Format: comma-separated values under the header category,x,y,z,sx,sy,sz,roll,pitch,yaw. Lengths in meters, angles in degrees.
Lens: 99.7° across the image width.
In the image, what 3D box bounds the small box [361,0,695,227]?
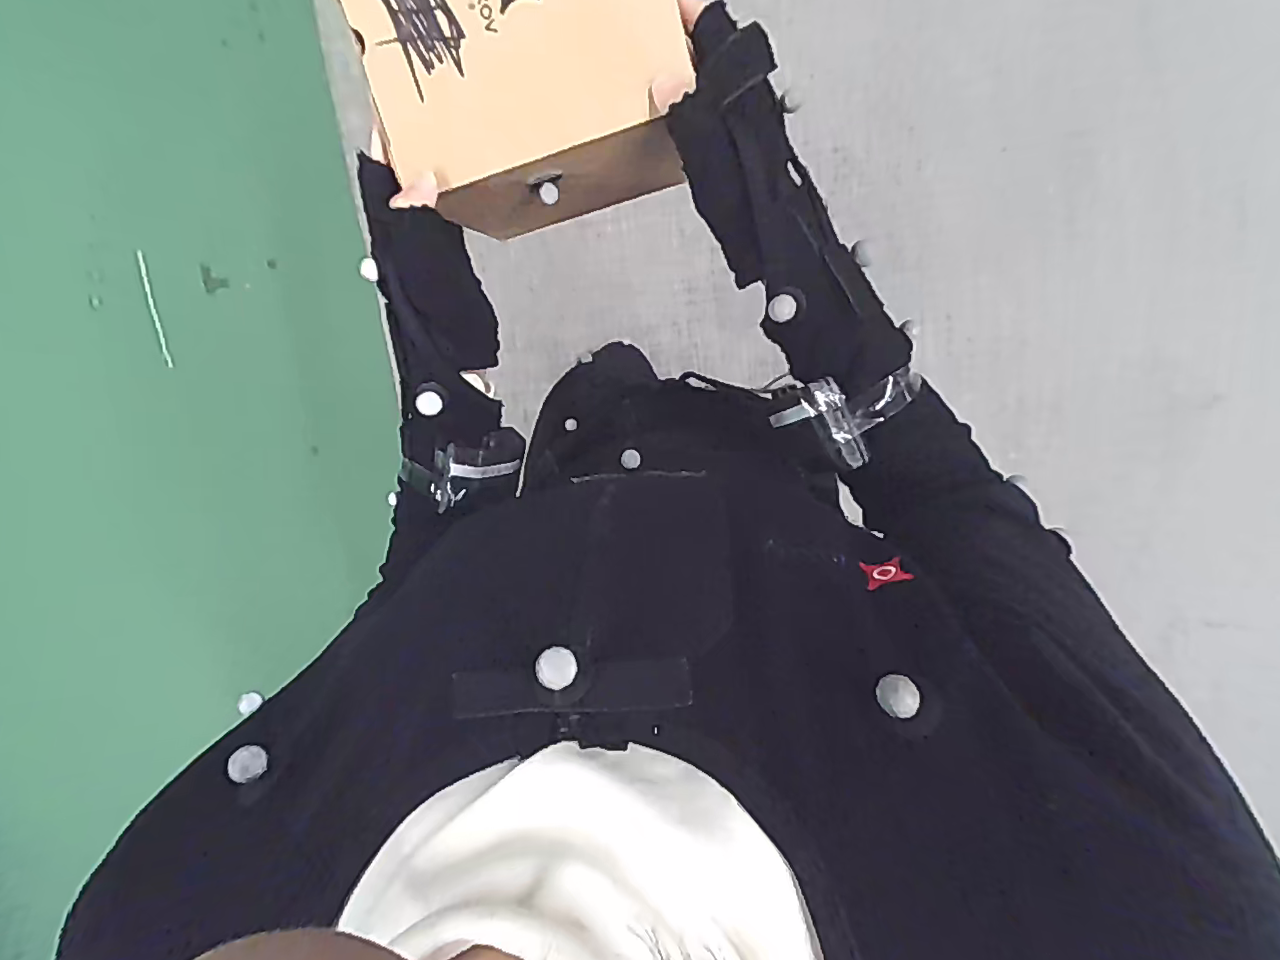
category,x,y,z,sx,sy,sz,roll,pitch,yaw
small box,-0.062,-0.292,0.374,0.179,0.176,0.168,-13,106,8
